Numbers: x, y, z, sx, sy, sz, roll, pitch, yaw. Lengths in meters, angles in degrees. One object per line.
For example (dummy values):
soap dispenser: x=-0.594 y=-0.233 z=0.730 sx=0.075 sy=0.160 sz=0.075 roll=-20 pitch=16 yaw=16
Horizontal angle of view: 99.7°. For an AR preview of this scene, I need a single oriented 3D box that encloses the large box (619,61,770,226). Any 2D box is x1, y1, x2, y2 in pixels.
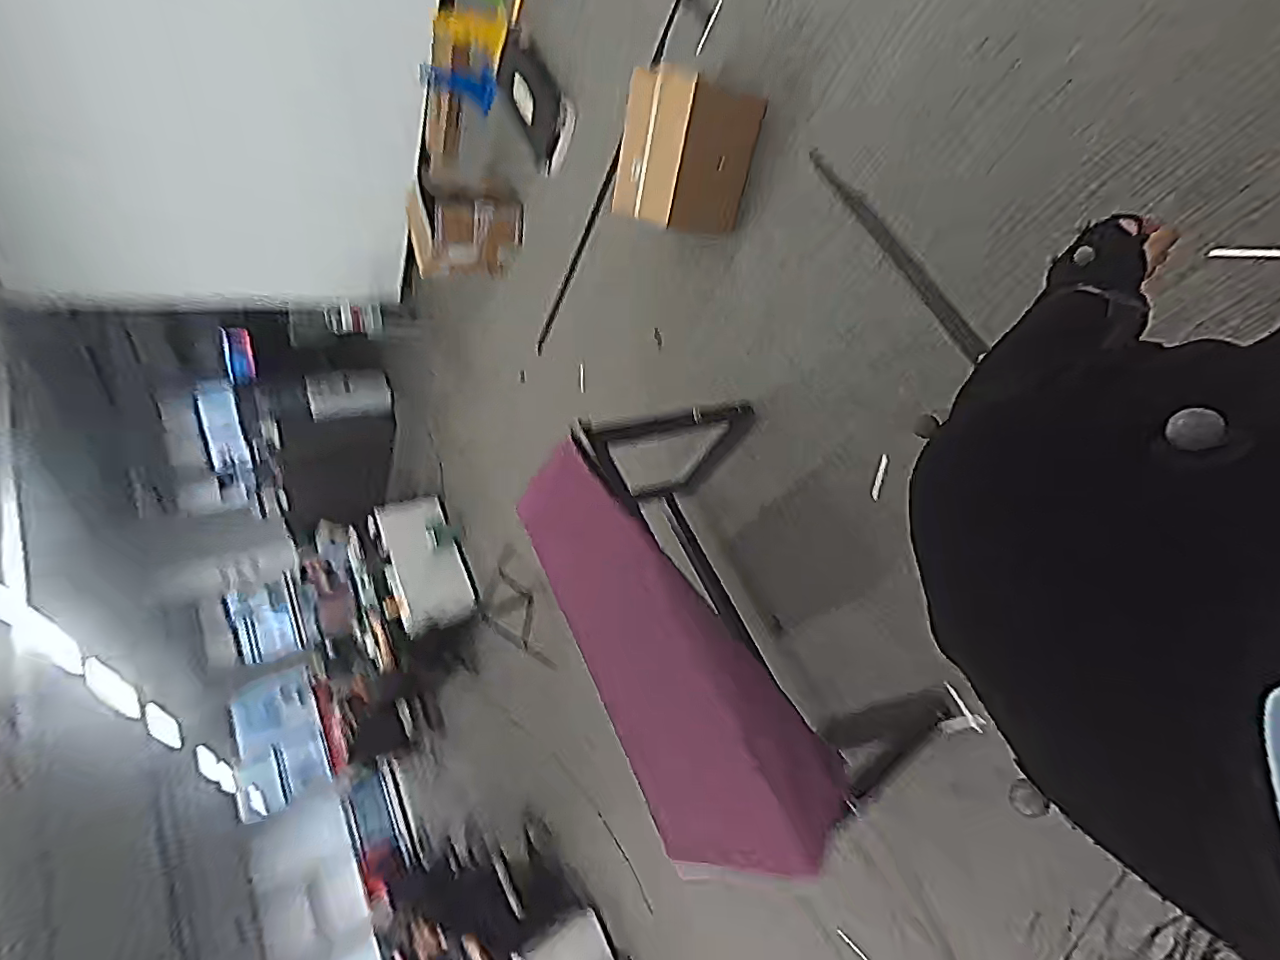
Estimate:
large box: x=0.167 y=-1.086 z=1.765 sx=0.320 sy=0.320 sz=0.408 roll=43 pitch=134 yaw=39
